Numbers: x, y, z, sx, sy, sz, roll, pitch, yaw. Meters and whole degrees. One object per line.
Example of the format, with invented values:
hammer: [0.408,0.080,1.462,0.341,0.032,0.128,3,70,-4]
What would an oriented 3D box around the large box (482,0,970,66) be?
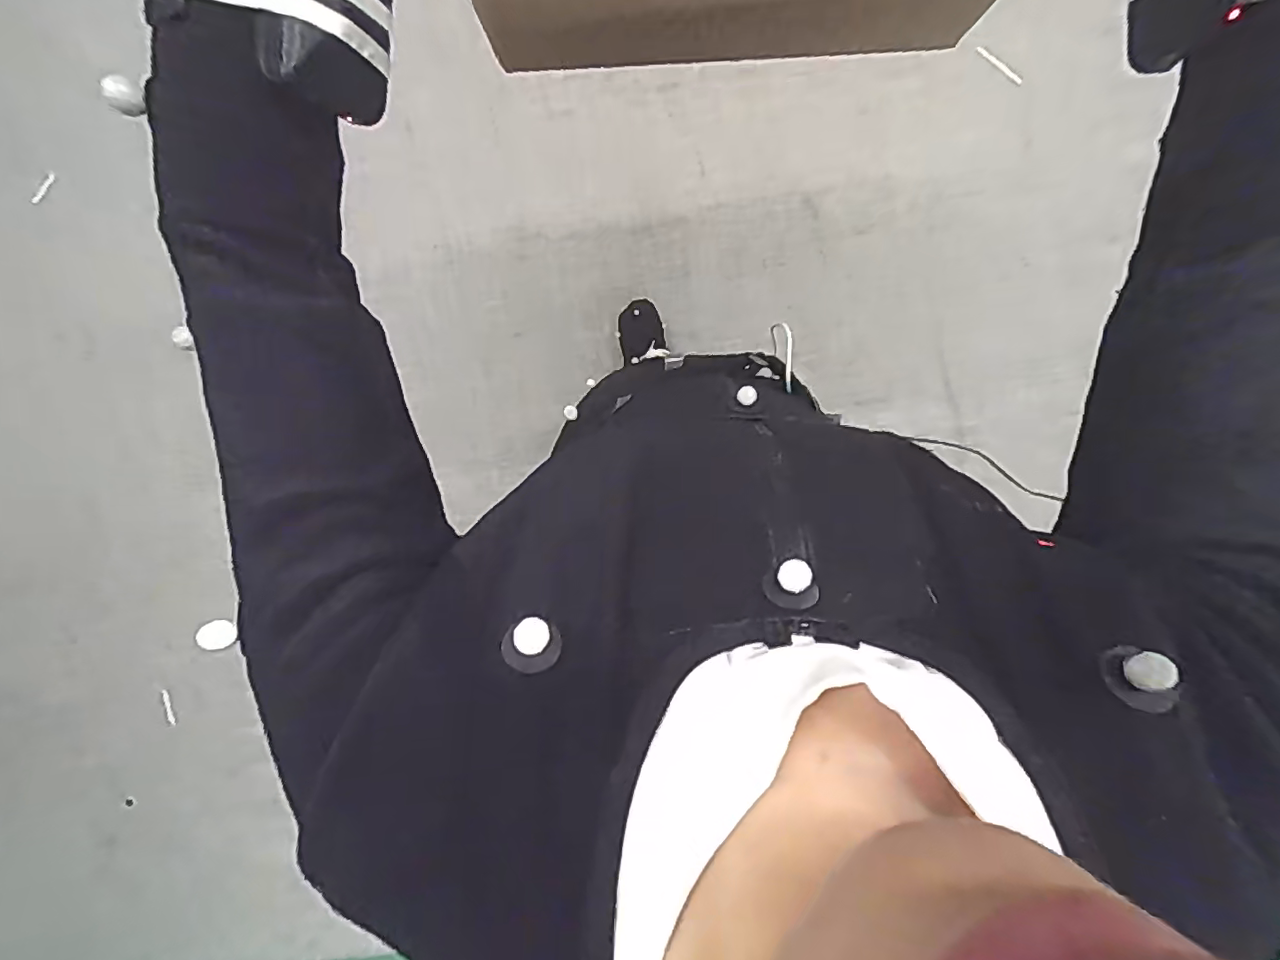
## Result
large box: [0.066,-0.508,0.316,0.408,0.320,0.320,-3,100,0]
